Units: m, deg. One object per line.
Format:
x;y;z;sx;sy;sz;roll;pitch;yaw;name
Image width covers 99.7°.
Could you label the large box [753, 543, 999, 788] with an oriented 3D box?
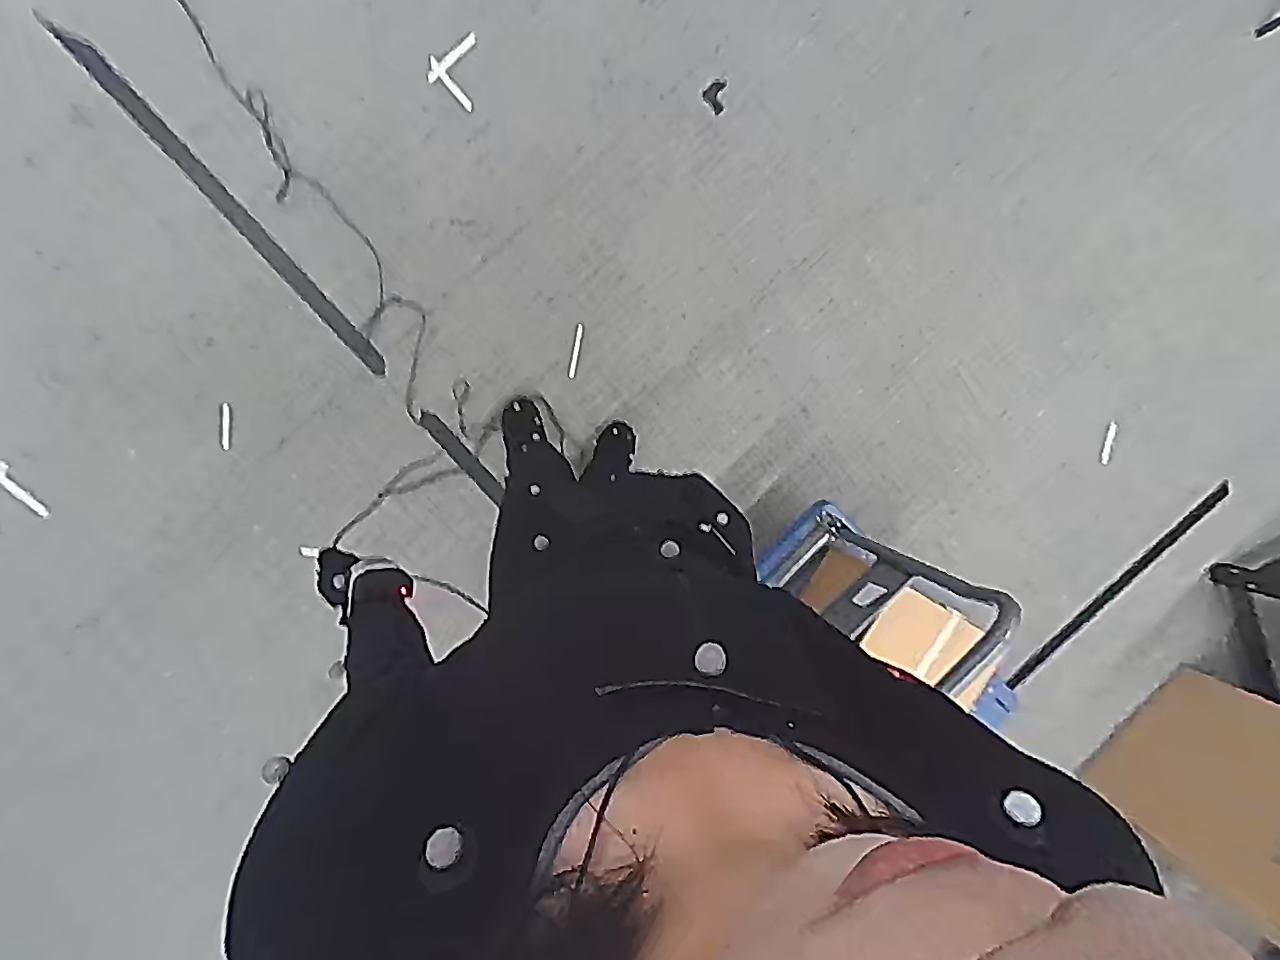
0.542;0.424;1.312;0.320;0.320;0.408;30;94;-10;large box
